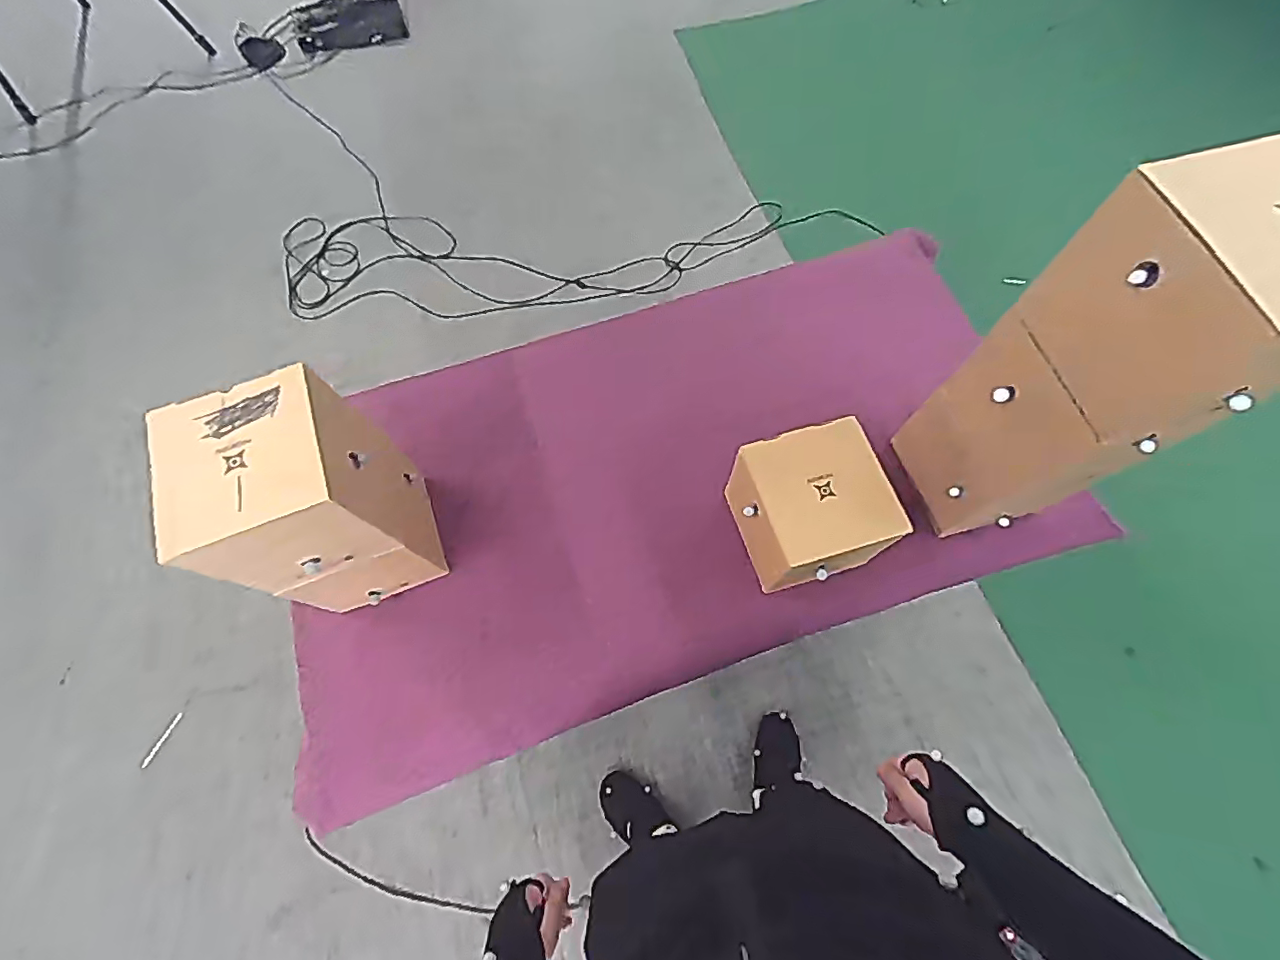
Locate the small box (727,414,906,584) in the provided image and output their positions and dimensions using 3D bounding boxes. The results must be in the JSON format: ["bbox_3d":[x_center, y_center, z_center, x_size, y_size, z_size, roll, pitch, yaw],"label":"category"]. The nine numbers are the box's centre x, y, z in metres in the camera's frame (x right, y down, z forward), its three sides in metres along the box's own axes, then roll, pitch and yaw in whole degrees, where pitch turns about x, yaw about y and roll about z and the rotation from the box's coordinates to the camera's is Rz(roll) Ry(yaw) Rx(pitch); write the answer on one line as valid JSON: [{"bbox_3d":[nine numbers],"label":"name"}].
[{"bbox_3d":[0.234,0.038,0.766,0.168,0.176,0.179,-16,67,-4],"label":"small box"}]

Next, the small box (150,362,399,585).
[{"bbox_3d":[-0.405,0.001,0.621,0.168,0.176,0.179,-21,70,-6],"label":"small box"}]

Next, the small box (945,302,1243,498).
[{"bbox_3d":[0.501,-0.101,0.635,0.168,0.176,0.179,-14,67,-3],"label":"small box"}]

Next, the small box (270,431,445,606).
[{"bbox_3d":[-0.402,0.063,0.773,0.168,0.176,0.179,-21,70,-6],"label":"small box"}]

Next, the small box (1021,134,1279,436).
[{"bbox_3d":[0.496,-0.165,0.482,0.168,0.176,0.179,-13,68,-3],"label":"small box"}]
